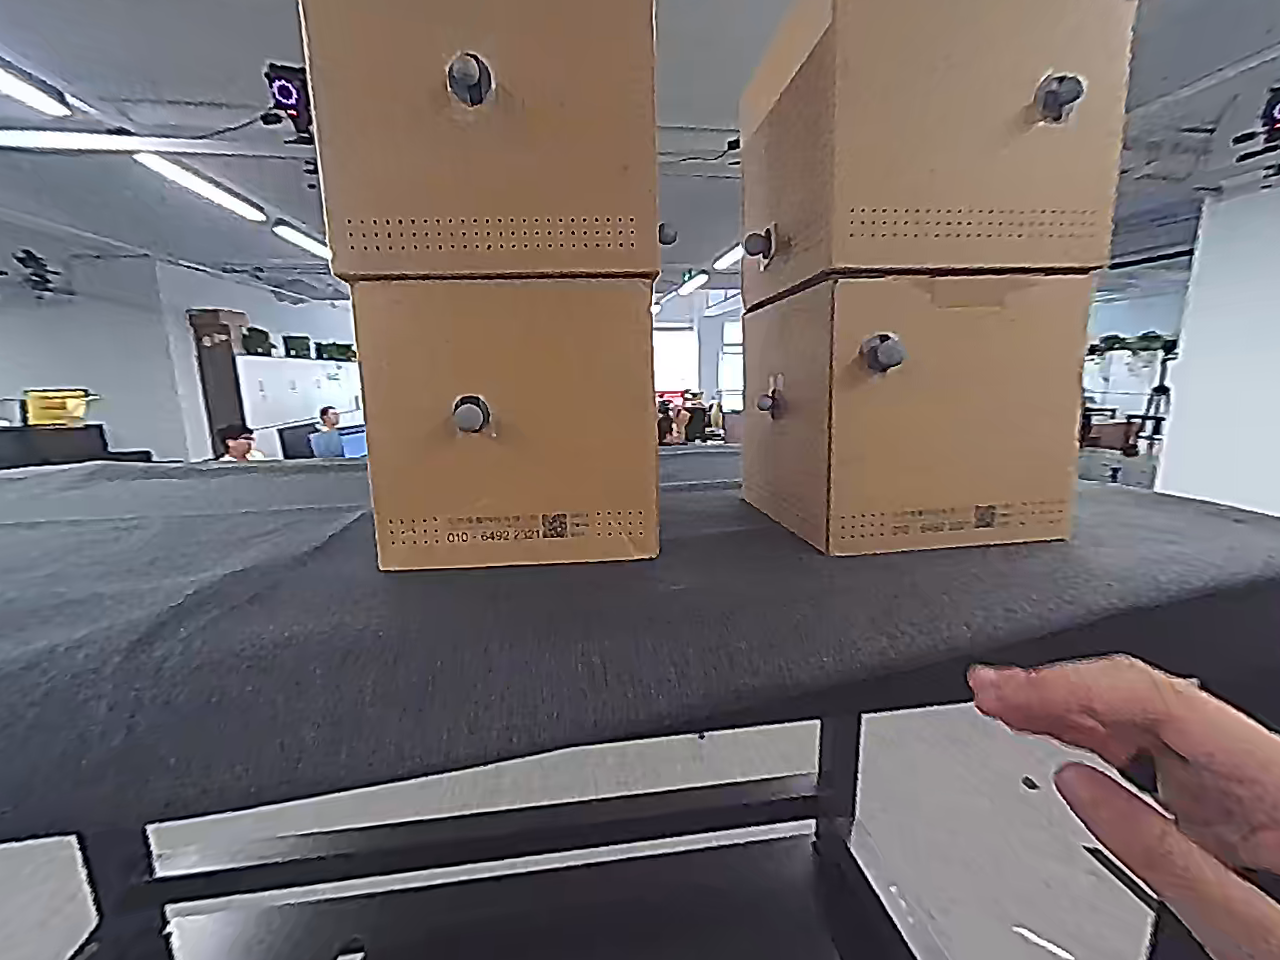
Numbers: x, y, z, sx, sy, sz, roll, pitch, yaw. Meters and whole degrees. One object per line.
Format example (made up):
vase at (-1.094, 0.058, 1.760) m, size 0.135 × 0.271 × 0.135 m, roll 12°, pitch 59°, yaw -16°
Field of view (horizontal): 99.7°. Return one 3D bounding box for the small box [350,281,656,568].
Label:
small box at (-0.079, -0.039, 0.390) m, size 0.168 × 0.176 × 0.179 m, roll -2°, pitch 10°, yaw -5°

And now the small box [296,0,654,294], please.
small box at (-0.084, -0.199, 0.353) m, size 0.179 × 0.176 × 0.168 m, roll -4°, pitch 9°, yaw -4°

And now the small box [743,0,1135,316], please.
small box at (0.177, -0.209, 0.372) m, size 0.179 × 0.176 × 0.168 m, roll -4°, pitch 9°, yaw -6°
